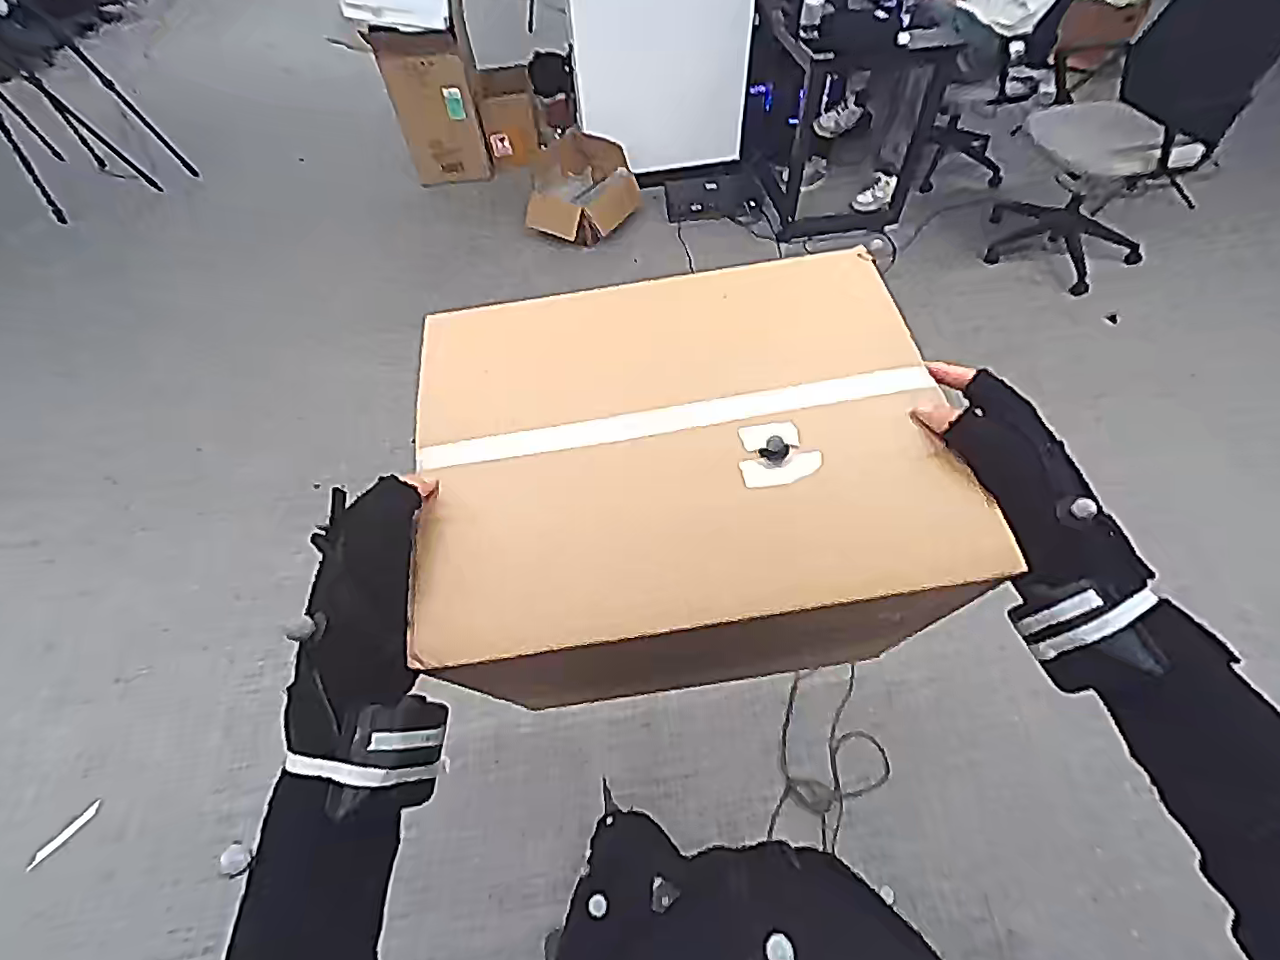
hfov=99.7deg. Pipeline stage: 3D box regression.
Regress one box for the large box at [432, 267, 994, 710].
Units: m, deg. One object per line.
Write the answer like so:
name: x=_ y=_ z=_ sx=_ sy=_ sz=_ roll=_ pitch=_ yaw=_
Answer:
large box: x=0.038 y=0.032 z=0.571 sx=0.408 sy=0.320 sz=0.320 roll=-9 pitch=62 yaw=-1

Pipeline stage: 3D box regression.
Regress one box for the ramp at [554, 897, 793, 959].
ramp: x=0.122 y=1.275 z=0.799 sx=0.509 sy=0.206 sz=0.991 roll=-11 pitch=54 yaw=-2
